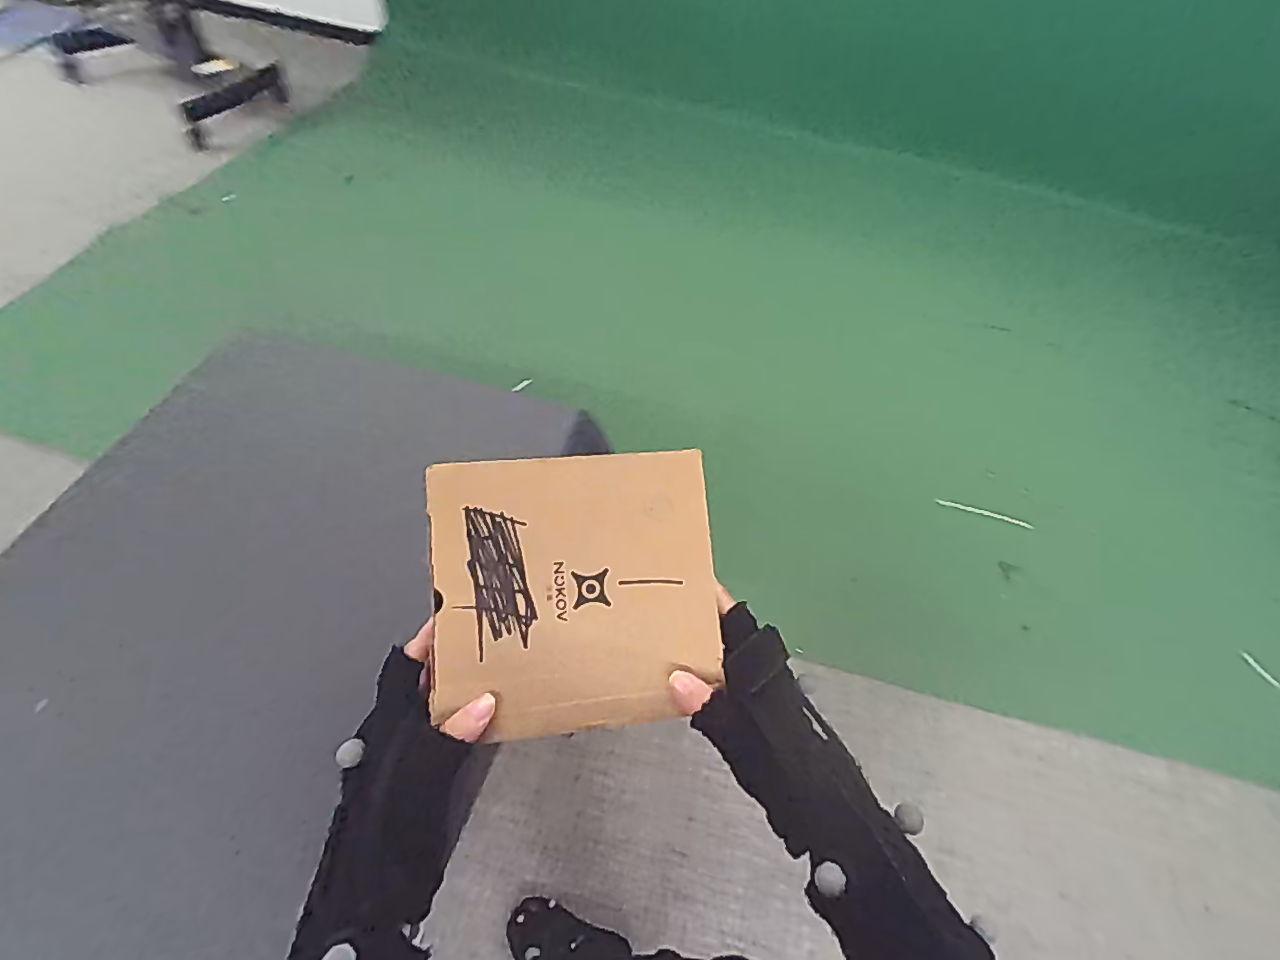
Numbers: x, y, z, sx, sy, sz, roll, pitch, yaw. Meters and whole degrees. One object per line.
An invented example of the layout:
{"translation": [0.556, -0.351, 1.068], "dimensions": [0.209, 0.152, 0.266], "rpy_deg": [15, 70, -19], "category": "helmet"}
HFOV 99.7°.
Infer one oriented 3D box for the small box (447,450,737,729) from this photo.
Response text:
{"translation": [-0.039, 0.077, 0.416], "dimensions": [0.179, 0.176, 0.168], "rpy_deg": [-3, 81, -8], "category": "small box"}
